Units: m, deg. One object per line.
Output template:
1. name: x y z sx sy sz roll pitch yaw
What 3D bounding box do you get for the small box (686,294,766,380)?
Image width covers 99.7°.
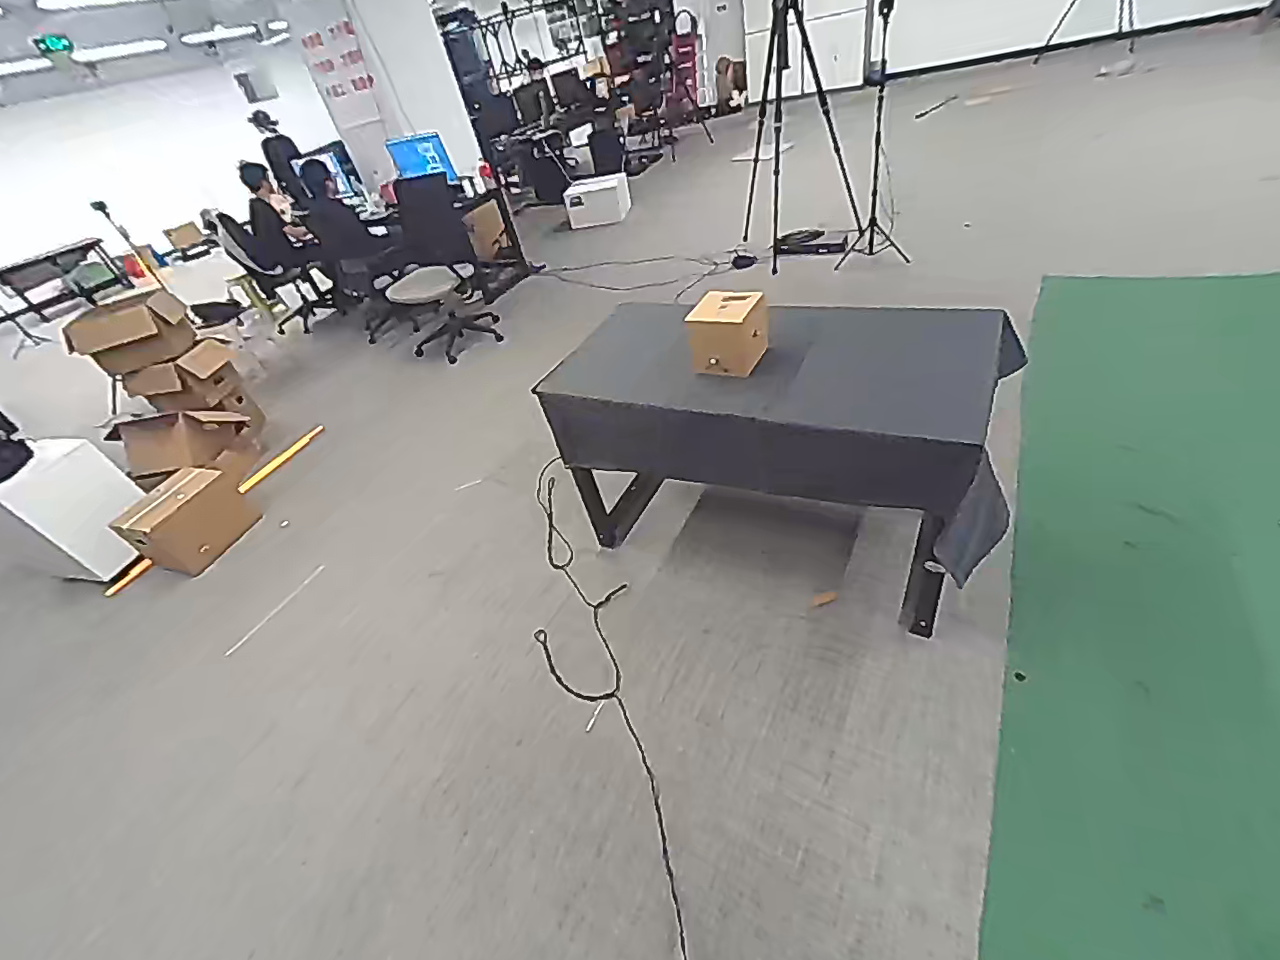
1. small box: 0.247 -0.402 1.512 0.168 0.176 0.179 12 47 30
